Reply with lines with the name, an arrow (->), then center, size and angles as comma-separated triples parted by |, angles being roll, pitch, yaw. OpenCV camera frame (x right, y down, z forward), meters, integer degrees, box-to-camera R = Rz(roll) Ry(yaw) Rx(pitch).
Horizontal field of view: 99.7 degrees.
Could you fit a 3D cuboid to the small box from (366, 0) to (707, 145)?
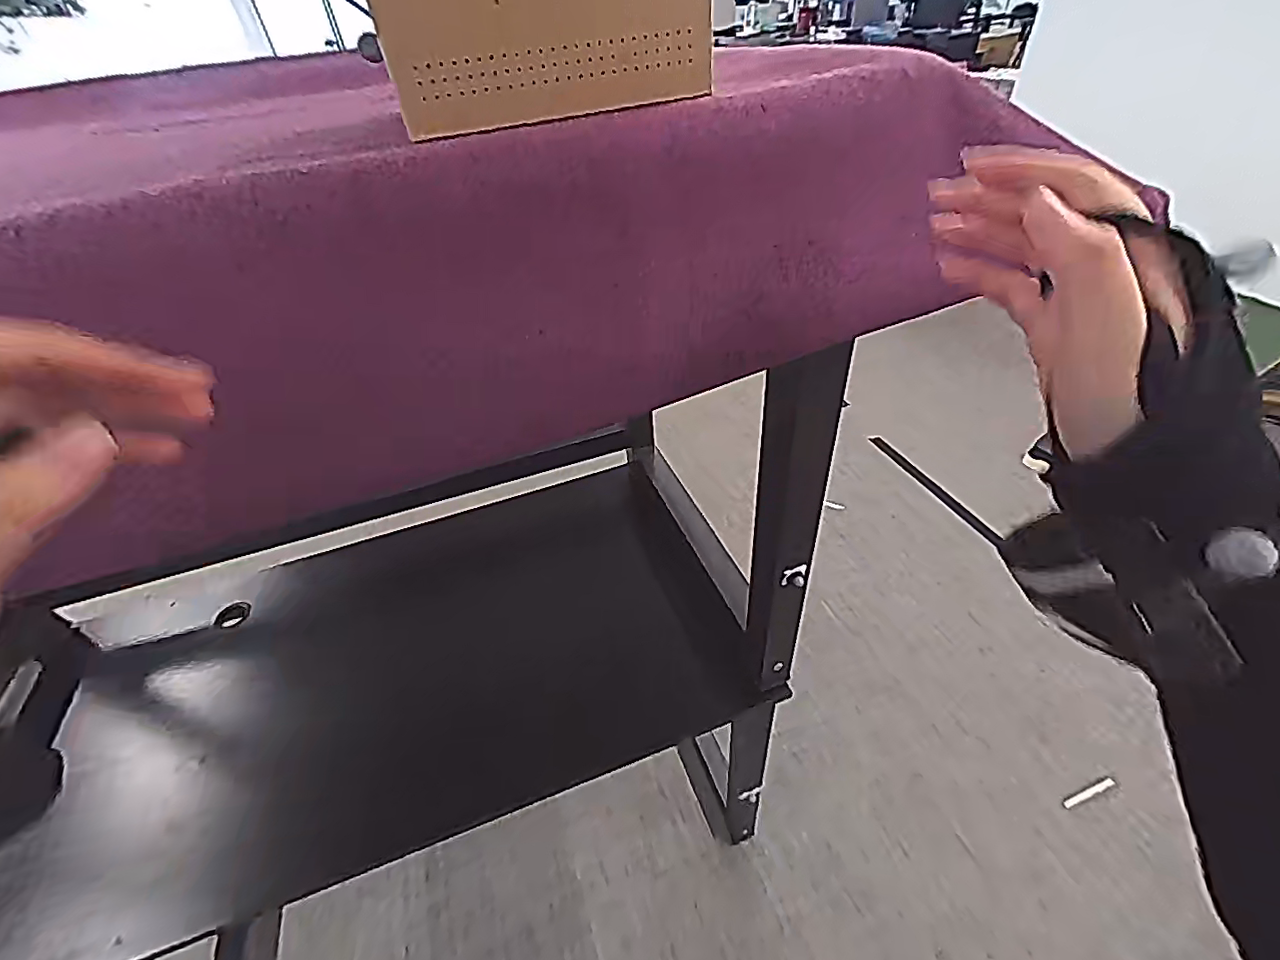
small box -> -0.067, -0.308, 0.302 | 0.179, 0.176, 0.168 | -16, 42, -9
